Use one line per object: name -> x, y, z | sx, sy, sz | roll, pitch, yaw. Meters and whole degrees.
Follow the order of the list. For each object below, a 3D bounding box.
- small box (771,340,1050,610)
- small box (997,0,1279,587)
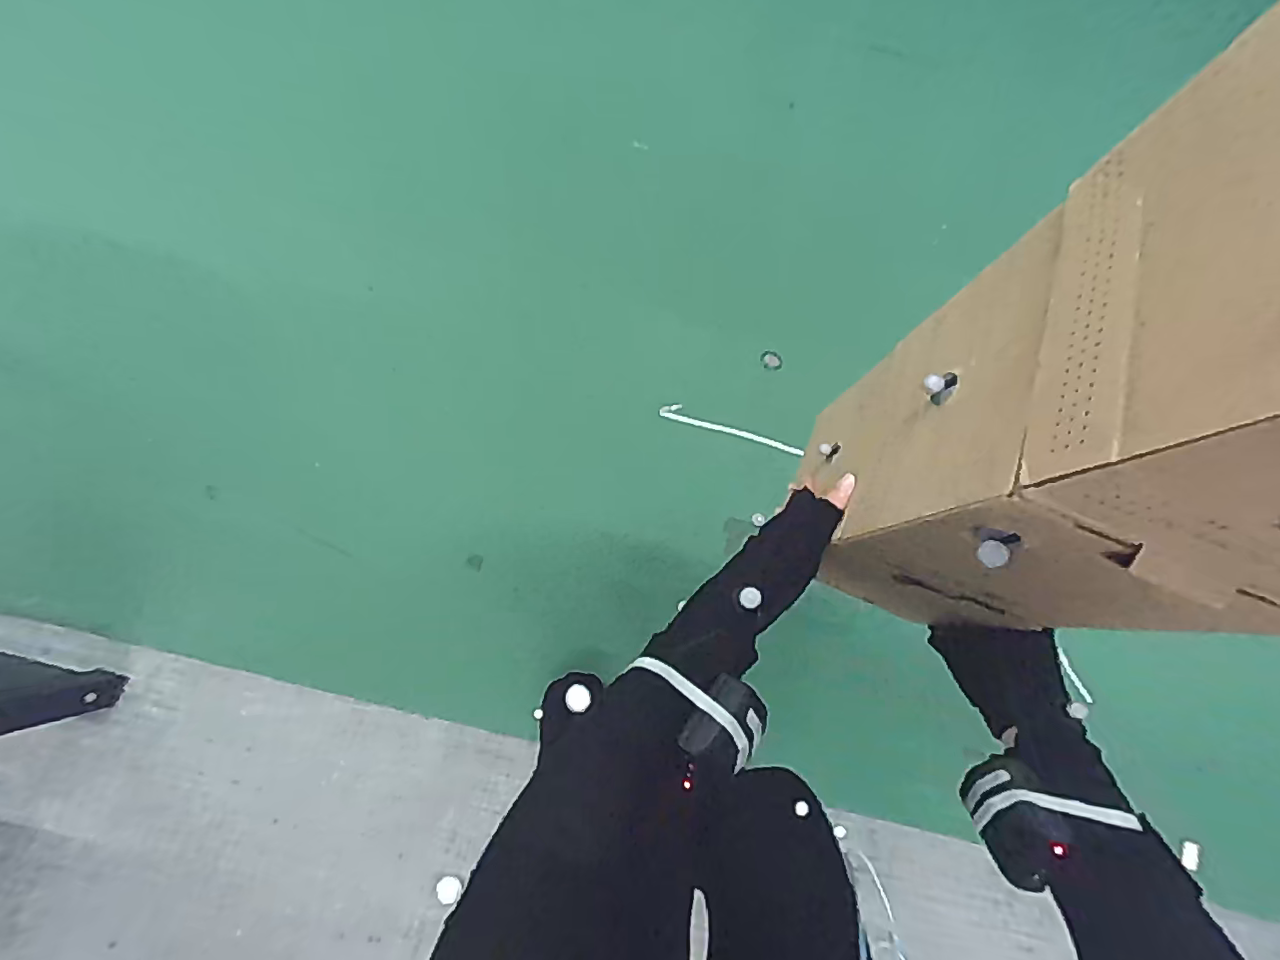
small box -> 0.239, 0.009, 0.505 | 0.168, 0.176, 0.179 | 23, 76, 0
small box -> 0.266, -0.071, 0.189 | 0.168, 0.176, 0.179 | 20, 76, -1
